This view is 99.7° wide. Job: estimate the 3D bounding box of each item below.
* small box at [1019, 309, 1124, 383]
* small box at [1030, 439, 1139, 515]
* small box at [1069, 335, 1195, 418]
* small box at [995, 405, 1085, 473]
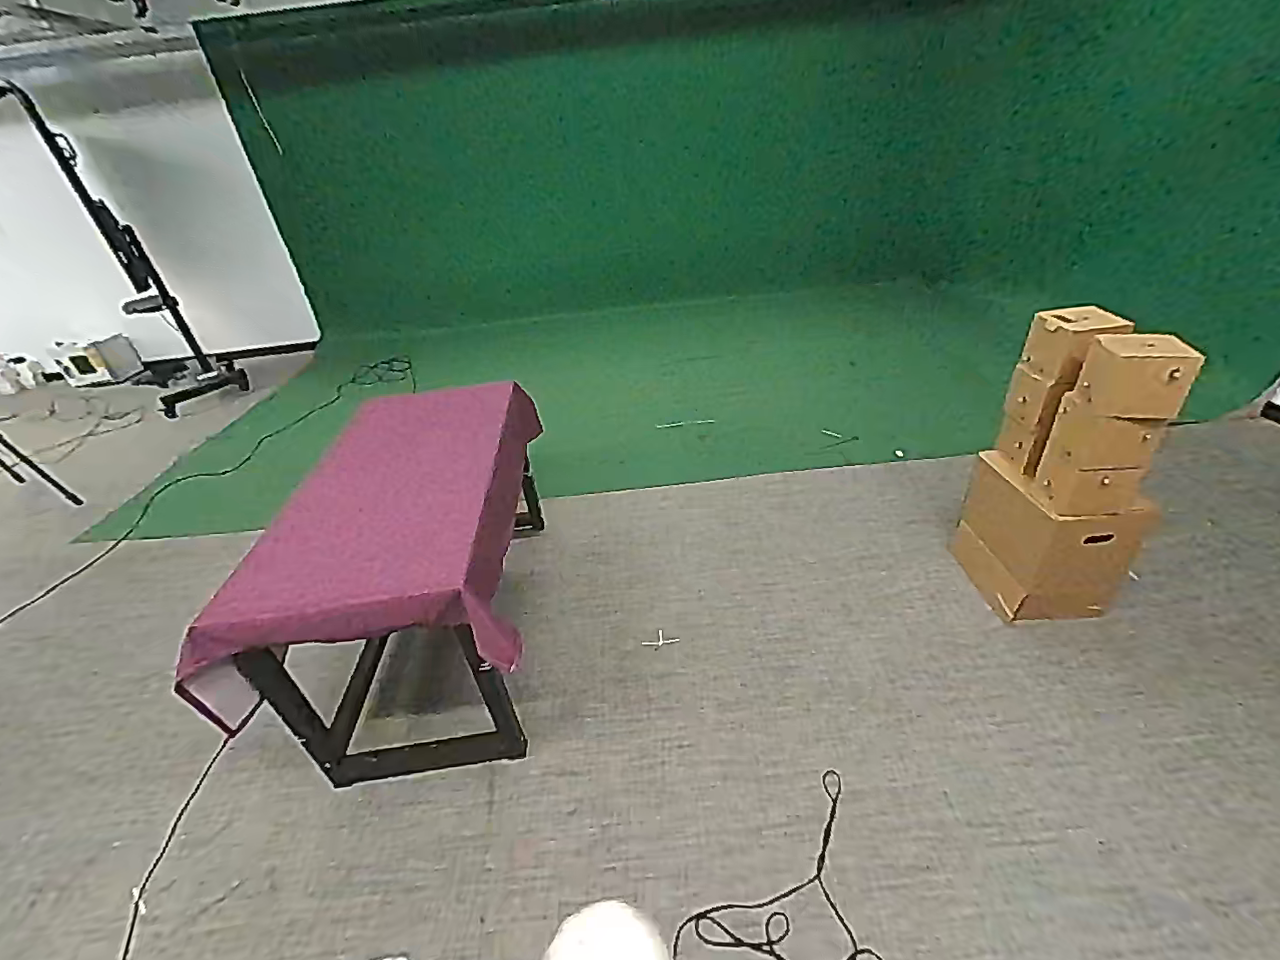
[{"bbox_3d":[1.292,-0.403,1.639,0.179,0.176,0.168,-6,35,1],"label":"small box"},{"bbox_3d":[1.325,-0.008,1.626,0.179,0.176,0.168,-3,32,7],"label":"small box"},{"bbox_3d":[1.292,-0.275,1.434,0.179,0.176,0.168,4,34,17],"label":"small box"},{"bbox_3d":[1.333,-0.135,1.823,0.179,0.176,0.168,-6,35,3],"label":"small box"}]
